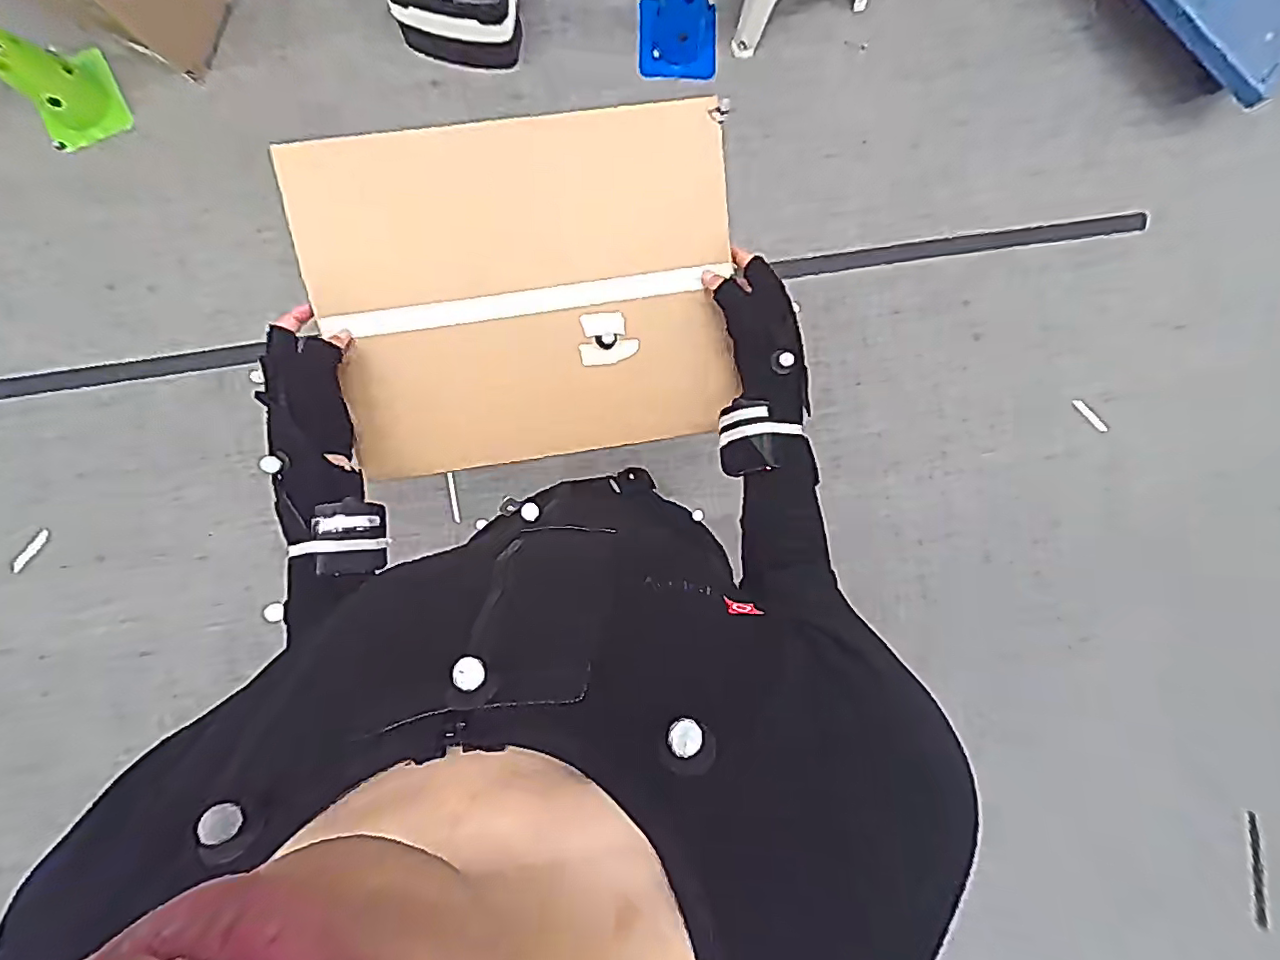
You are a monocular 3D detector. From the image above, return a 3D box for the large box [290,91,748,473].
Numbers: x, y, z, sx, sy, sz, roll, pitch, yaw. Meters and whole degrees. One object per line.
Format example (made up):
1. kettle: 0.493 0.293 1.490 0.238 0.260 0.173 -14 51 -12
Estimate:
1. large box: -0.116 -0.222 0.678 0.408 0.320 0.320 -10 106 -4
